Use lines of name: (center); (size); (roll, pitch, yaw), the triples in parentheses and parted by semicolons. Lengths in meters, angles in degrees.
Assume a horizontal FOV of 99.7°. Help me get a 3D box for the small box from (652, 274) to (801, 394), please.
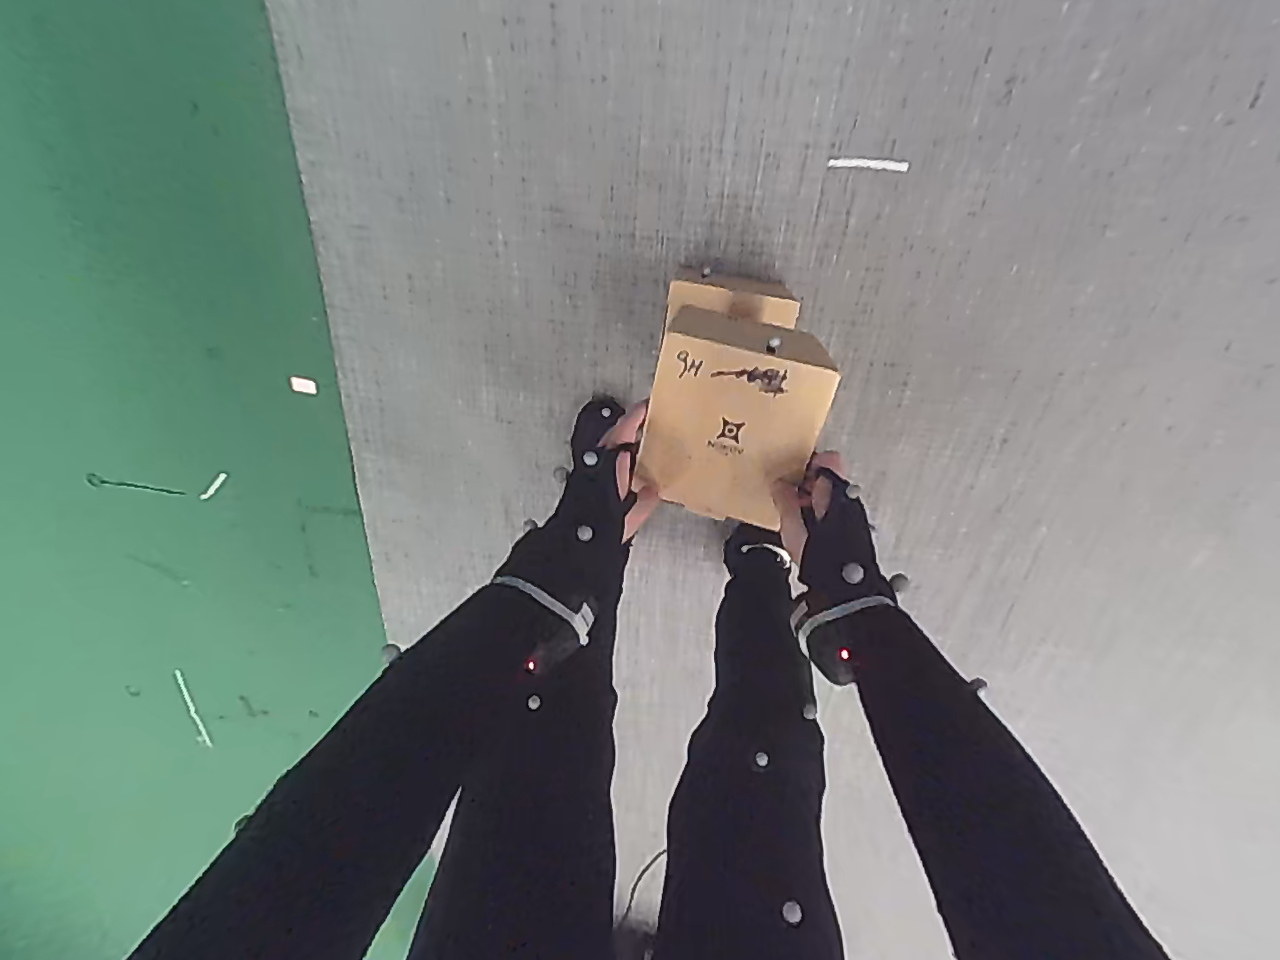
small box: (0.125, -0.209, 0.821); (0.179, 0.176, 0.168); (11, 118, 2)

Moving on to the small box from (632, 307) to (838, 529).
small box: (0.099, -0.077, 0.605); (0.168, 0.176, 0.179); (15, 118, 2)
